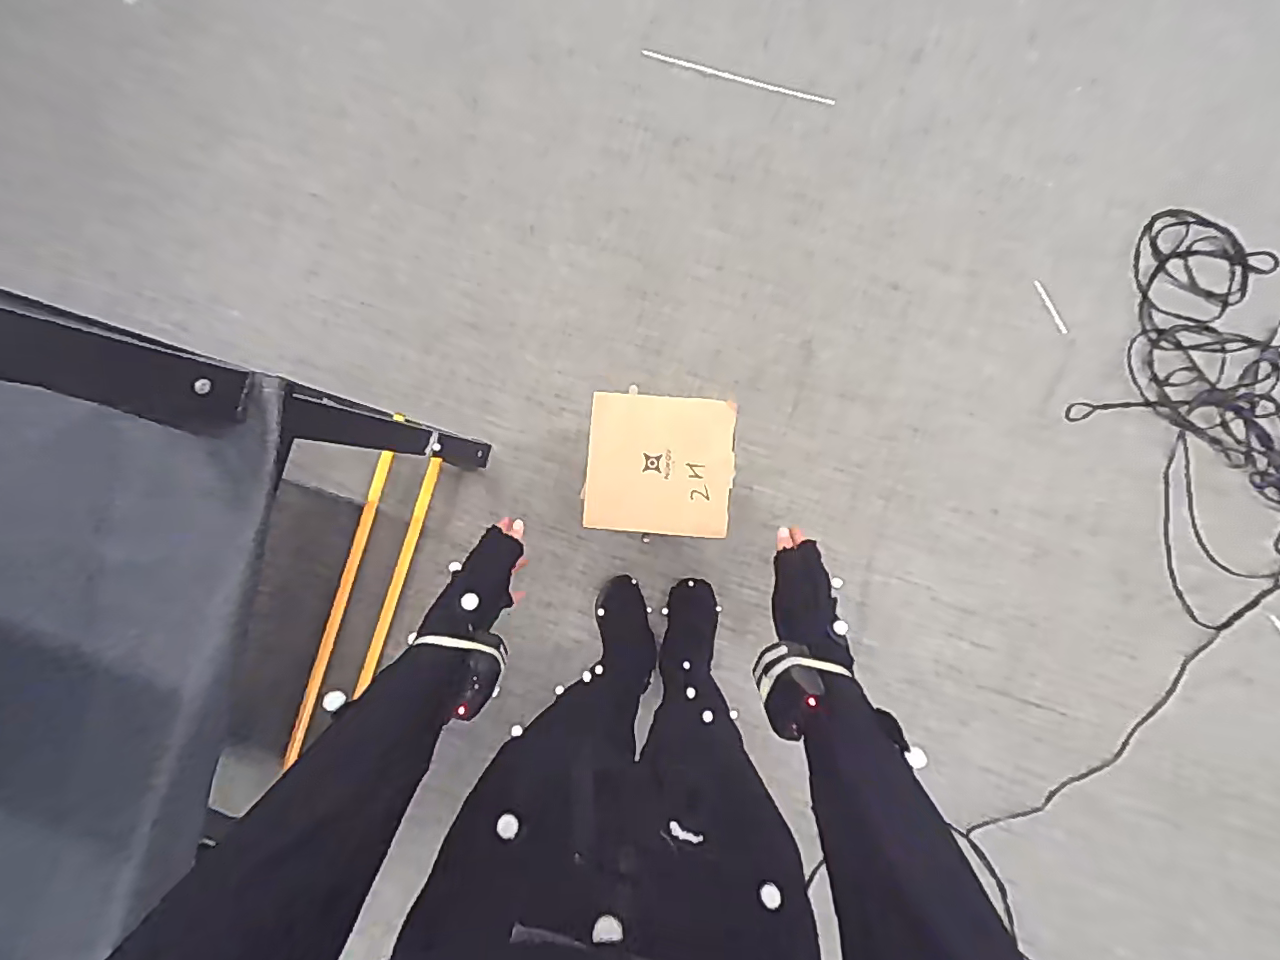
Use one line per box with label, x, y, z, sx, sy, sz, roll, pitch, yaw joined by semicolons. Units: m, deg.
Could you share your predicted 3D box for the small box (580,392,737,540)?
small box;0.027;-0.016;0.719;0.179;0.176;0.168;5;90;4
